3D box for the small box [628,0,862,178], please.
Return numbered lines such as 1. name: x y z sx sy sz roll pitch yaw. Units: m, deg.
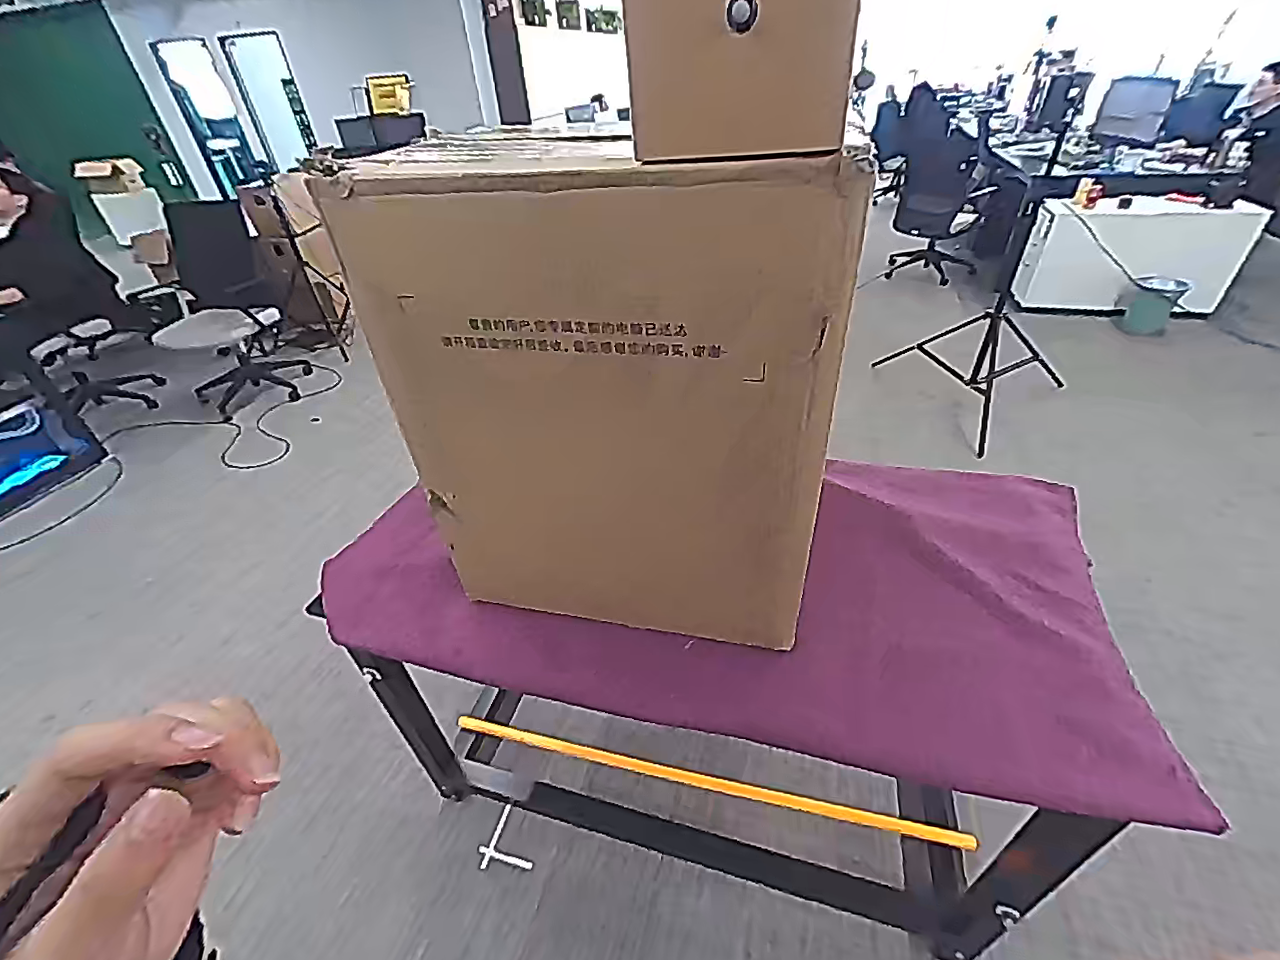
1. small box: 0.092 -0.362 0.446 0.168 0.176 0.179 7 39 16
